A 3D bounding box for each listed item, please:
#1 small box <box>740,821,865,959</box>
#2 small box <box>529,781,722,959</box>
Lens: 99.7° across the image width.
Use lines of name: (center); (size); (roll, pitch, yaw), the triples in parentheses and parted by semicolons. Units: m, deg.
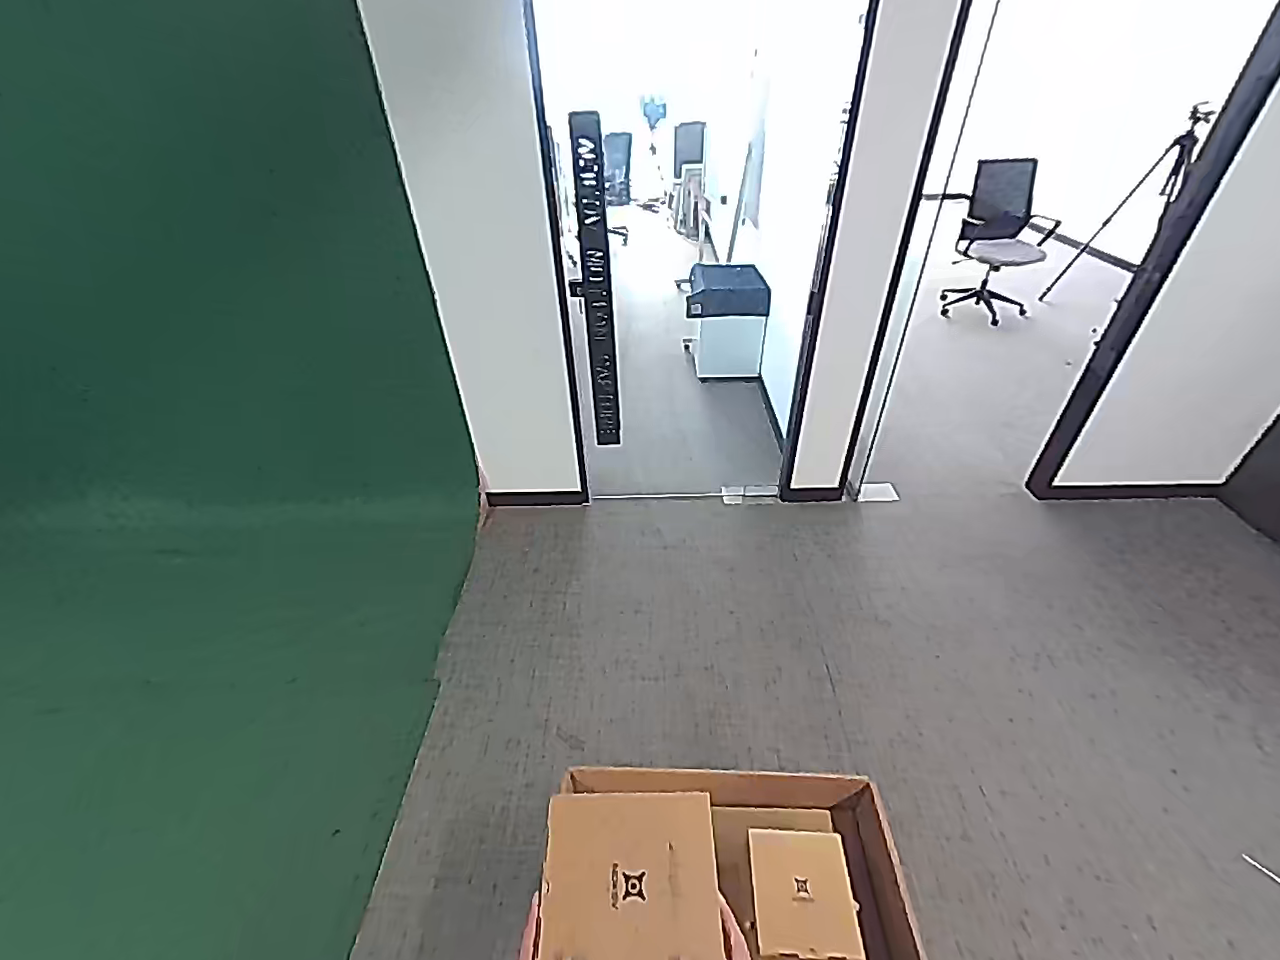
small box: (0.271, 0.732, 0.948); (0.168, 0.176, 0.179); (2, 39, 3)
small box: (-0.013, 0.442, 0.587); (0.179, 0.176, 0.168); (0, 46, -1)
